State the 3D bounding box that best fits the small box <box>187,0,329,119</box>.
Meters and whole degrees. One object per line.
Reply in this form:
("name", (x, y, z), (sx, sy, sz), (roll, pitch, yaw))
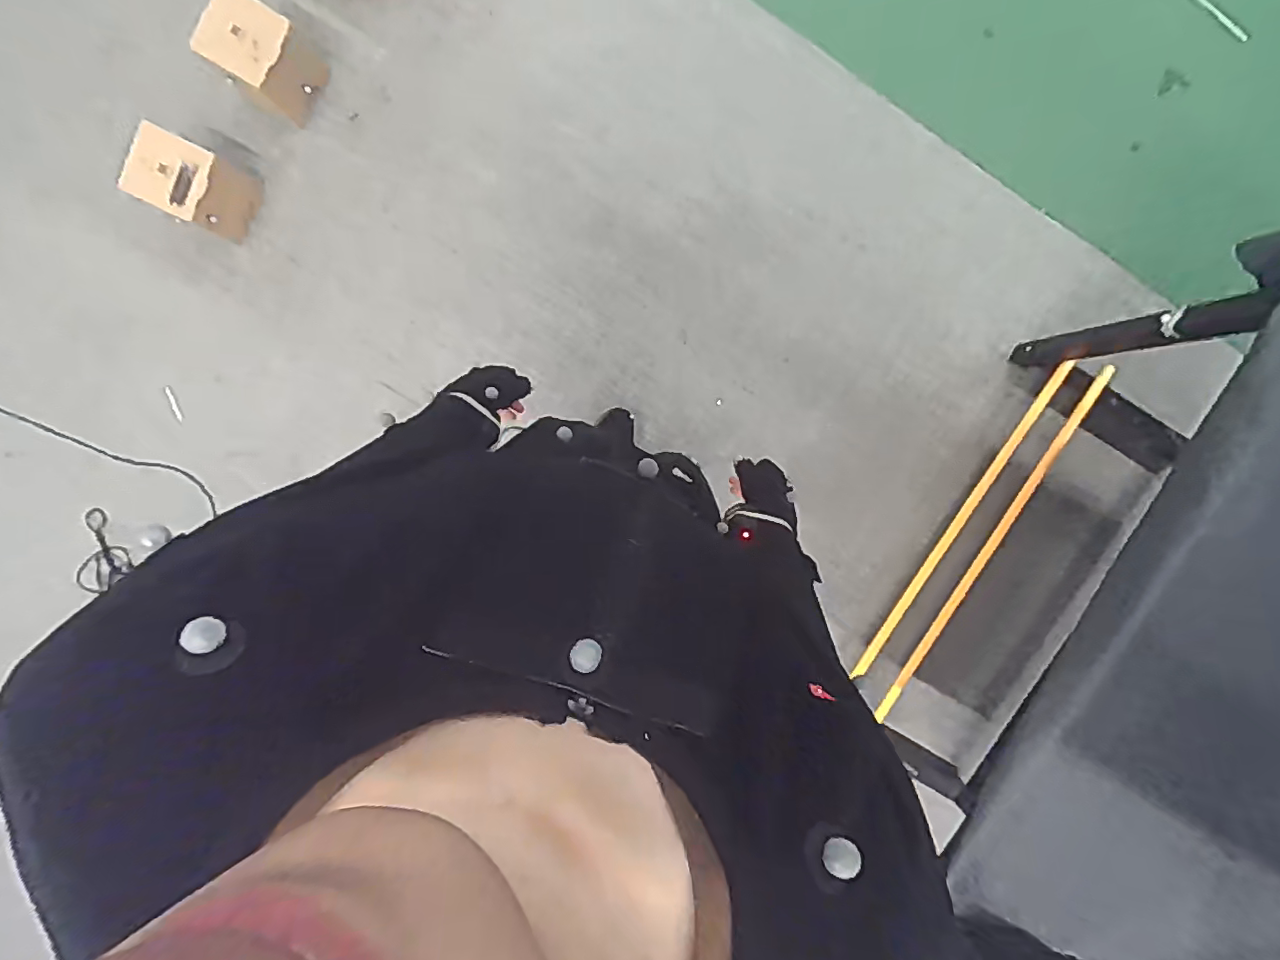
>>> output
("small box", (-0.881, -0.998, 1.264), (0.179, 0.176, 0.168), (30, 94, -6))
